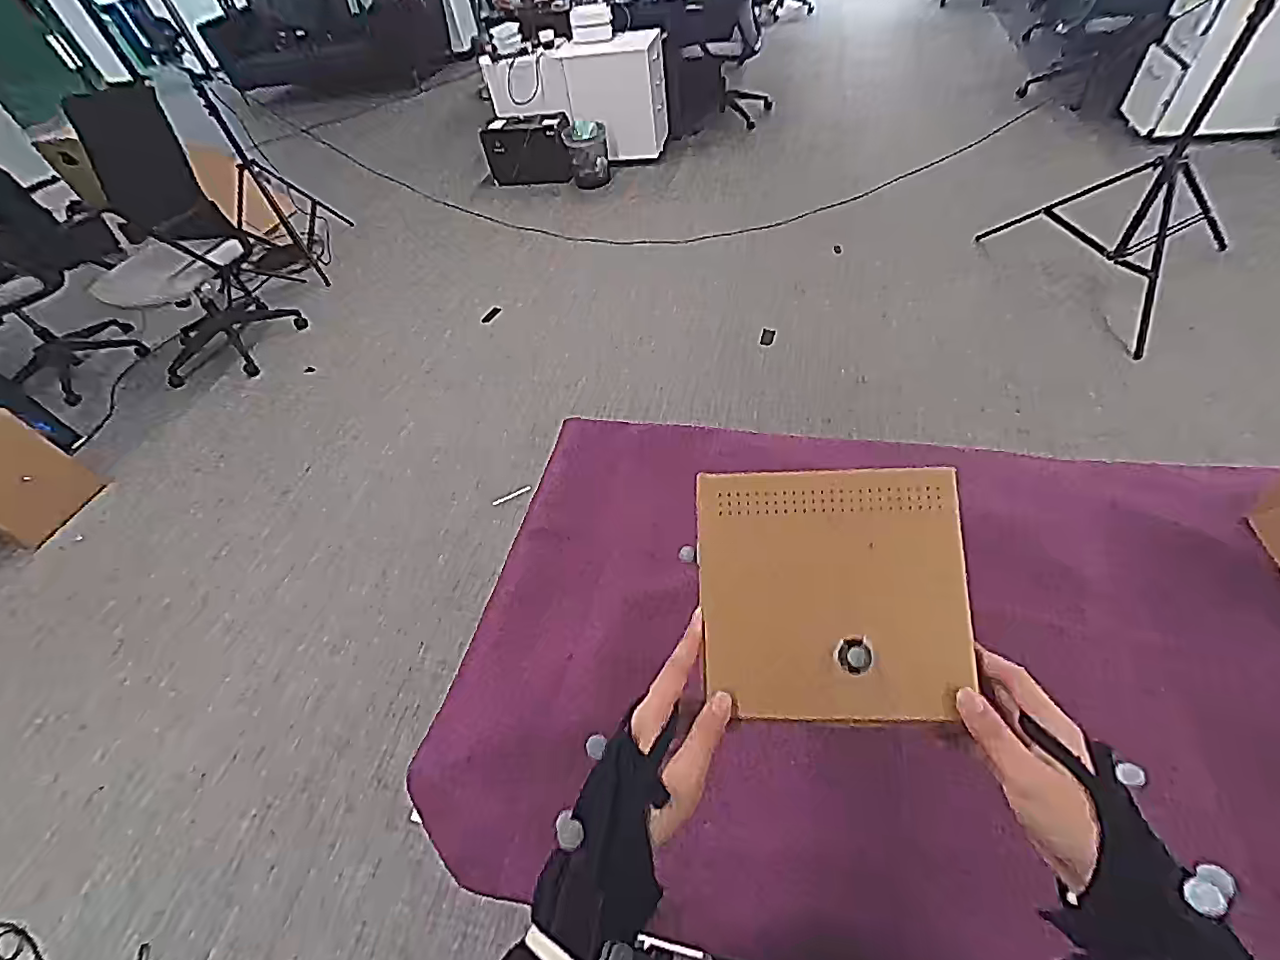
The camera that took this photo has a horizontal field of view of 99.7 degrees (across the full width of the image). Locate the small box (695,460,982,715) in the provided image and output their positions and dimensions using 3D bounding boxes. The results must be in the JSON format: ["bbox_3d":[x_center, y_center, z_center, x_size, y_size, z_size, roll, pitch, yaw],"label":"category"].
[{"bbox_3d":[0.137,0.080,0.440,0.179,0.168,0.176,-1,79,5],"label":"small box"}]
